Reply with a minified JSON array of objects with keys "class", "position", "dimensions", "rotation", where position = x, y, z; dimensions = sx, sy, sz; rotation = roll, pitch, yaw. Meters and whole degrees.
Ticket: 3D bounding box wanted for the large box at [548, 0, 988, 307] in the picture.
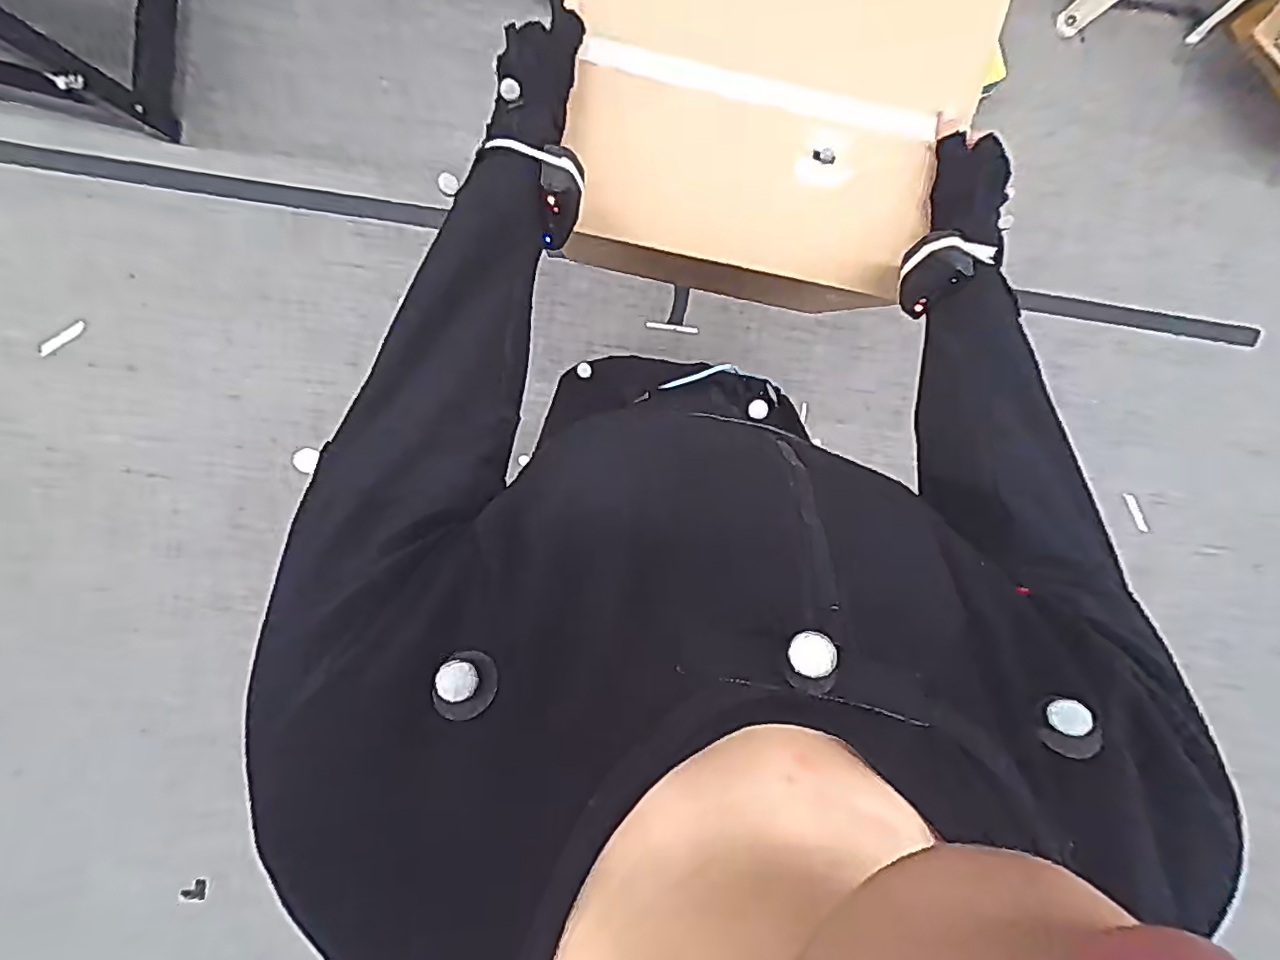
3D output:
[{"class":"large box","position":[0.115,-0.417,0.683],"dimensions":[0.408,0.320,0.320],"rotation":[10,106,-6]}]
